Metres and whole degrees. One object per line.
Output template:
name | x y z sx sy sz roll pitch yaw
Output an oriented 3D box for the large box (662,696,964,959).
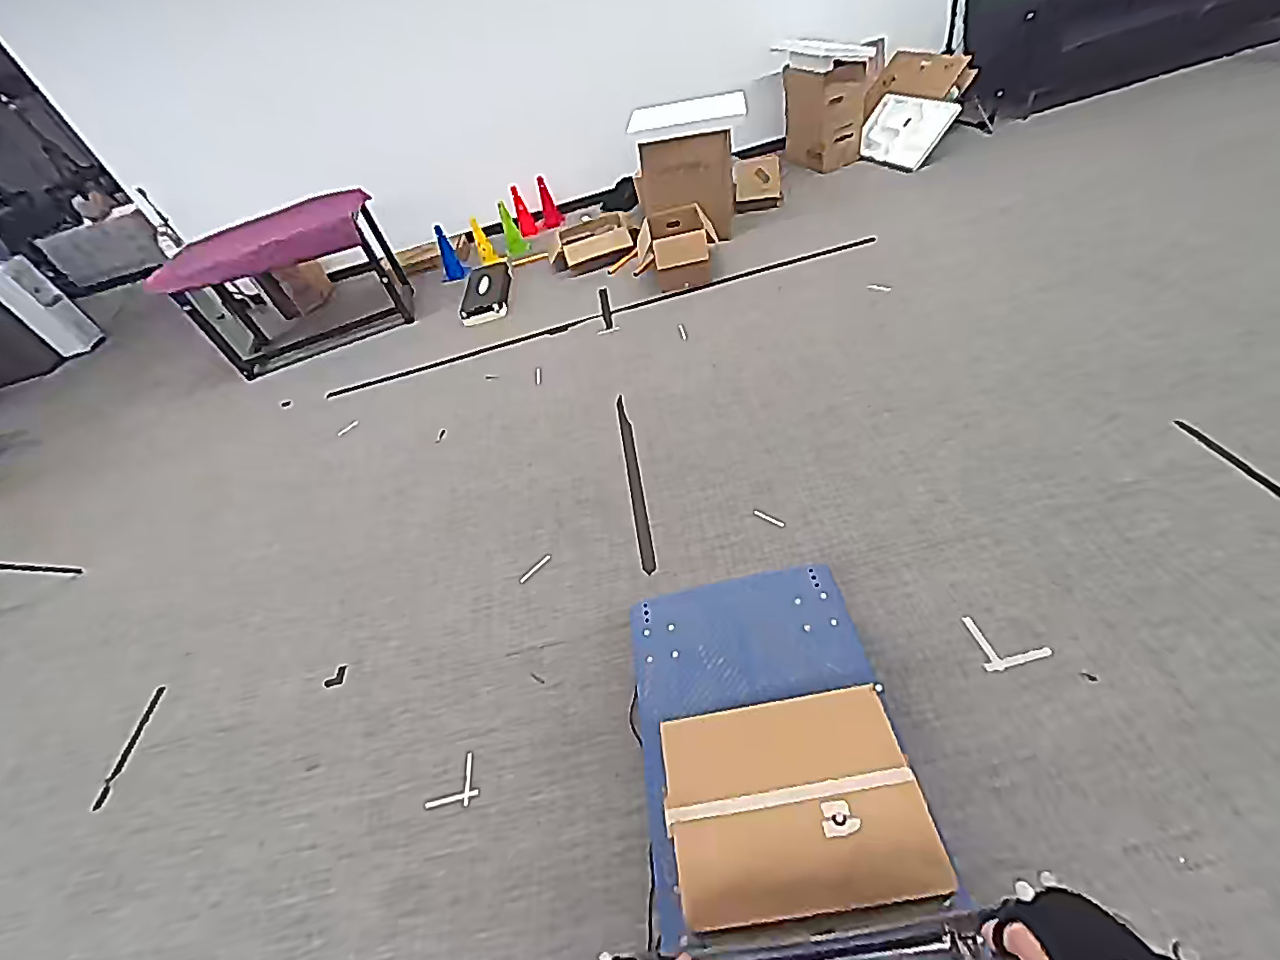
large box | 0.275 0.639 0.975 0.408 0.320 0.320 -12 44 4
